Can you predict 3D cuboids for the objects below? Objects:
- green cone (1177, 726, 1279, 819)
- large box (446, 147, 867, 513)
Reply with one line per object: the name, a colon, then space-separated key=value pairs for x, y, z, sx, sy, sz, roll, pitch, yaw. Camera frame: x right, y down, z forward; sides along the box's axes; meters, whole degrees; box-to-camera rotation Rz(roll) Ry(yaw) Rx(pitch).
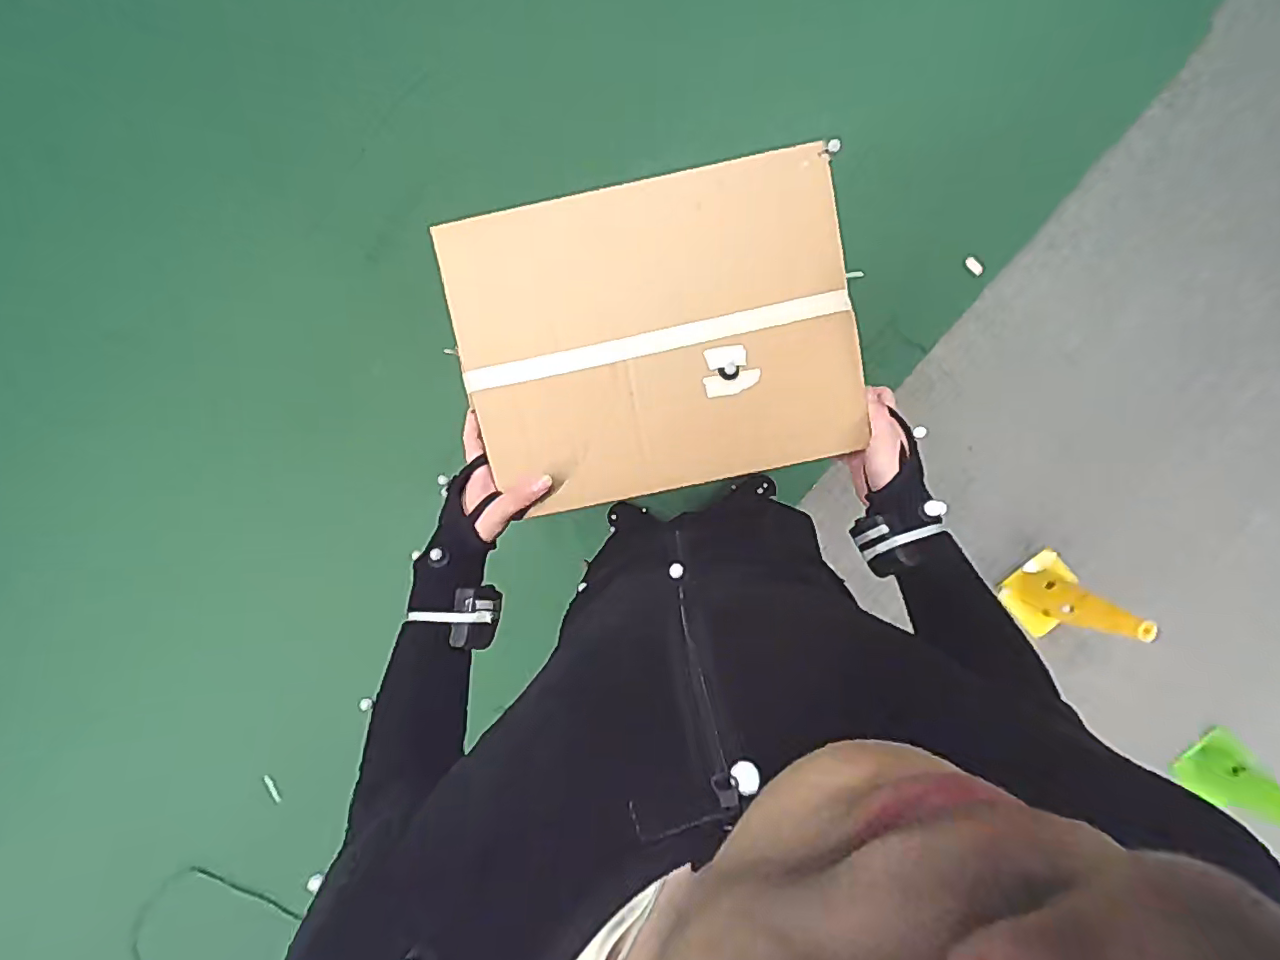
green cone: x=1.724 y=0.863 z=1.434 sx=0.200 sy=0.368 sz=0.202 roll=-44 pitch=89 yaw=3
large box: x=0.020 y=-0.168 z=0.715 sx=0.408 sy=0.320 sz=0.320 roll=-11 pitch=98 yaw=1
